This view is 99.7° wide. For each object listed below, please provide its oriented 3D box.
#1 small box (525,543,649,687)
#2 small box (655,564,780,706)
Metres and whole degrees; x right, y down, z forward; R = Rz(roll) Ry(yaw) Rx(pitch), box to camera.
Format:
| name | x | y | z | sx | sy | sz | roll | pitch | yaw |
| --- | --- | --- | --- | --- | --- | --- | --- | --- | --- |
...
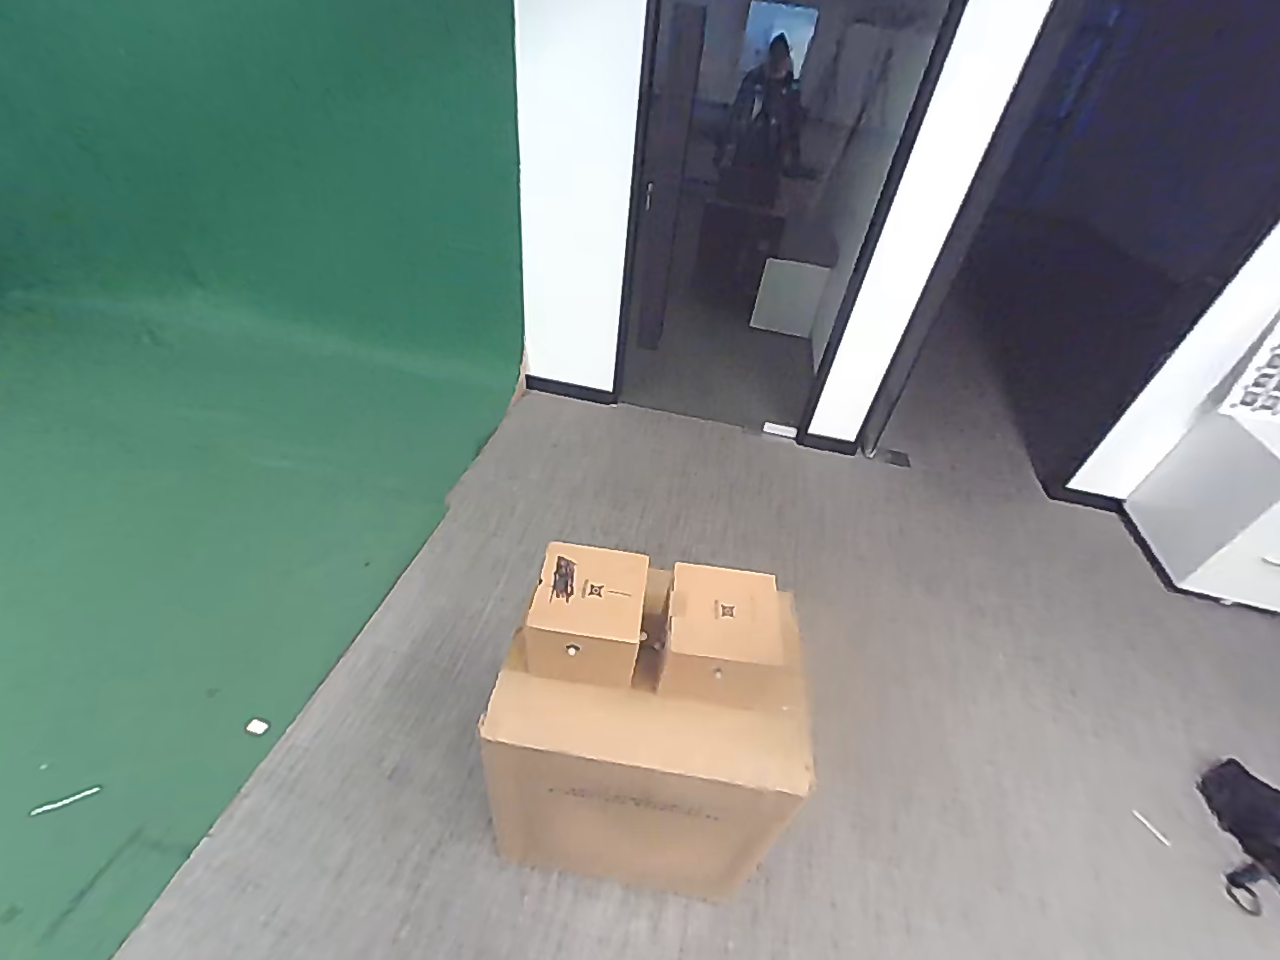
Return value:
| name | x | y | z | sx | sy | sz | roll | pitch | yaw |
| --- | --- | --- | --- | --- | --- | --- | --- | --- | --- |
| small box | -0.088 | 0.234 | 0.923 | 0.179 | 0.176 | 0.168 | 9 | 46 | 0 |
| small box | 0.124 | 0.267 | 0.922 | 0.179 | 0.176 | 0.168 | 9 | 46 | -2 |
